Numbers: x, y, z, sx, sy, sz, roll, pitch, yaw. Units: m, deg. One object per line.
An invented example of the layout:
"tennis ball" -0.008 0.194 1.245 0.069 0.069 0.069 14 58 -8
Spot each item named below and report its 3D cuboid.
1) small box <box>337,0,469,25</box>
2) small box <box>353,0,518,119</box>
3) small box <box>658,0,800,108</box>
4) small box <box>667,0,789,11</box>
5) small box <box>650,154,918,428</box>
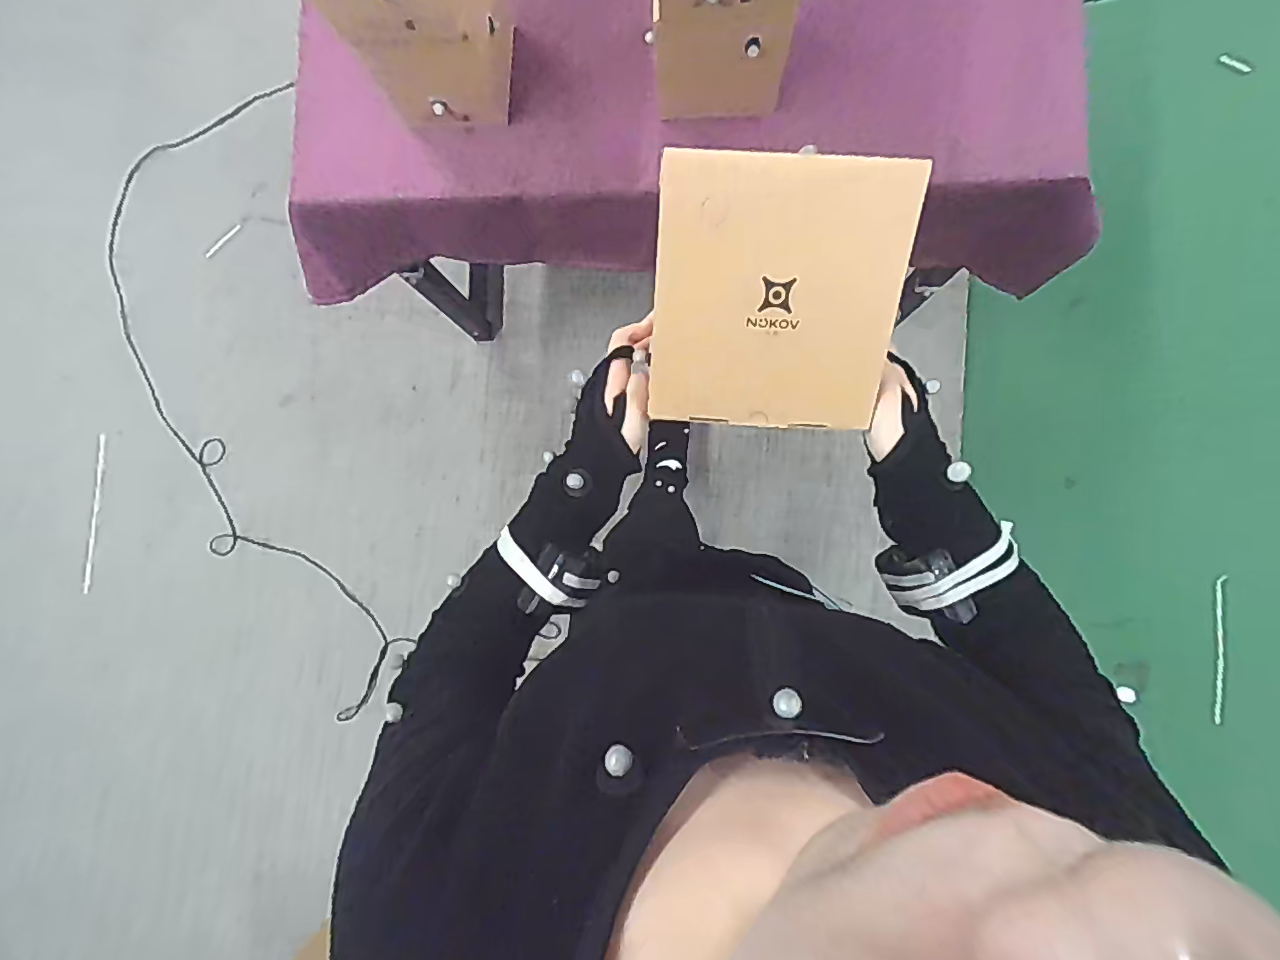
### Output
"small box" -0.299 -0.670 0.619 0.168 0.176 0.179 3 87 4
"small box" -0.282 -0.666 0.783 0.168 0.176 0.179 2 87 5
"small box" 0.116 -0.654 0.749 0.179 0.176 0.168 1 86 5
"small box" 0.102 -0.669 0.587 0.168 0.176 0.179 0 87 5
"small box" 0.095 -0.155 0.449 0.168 0.176 0.179 3 115 2
